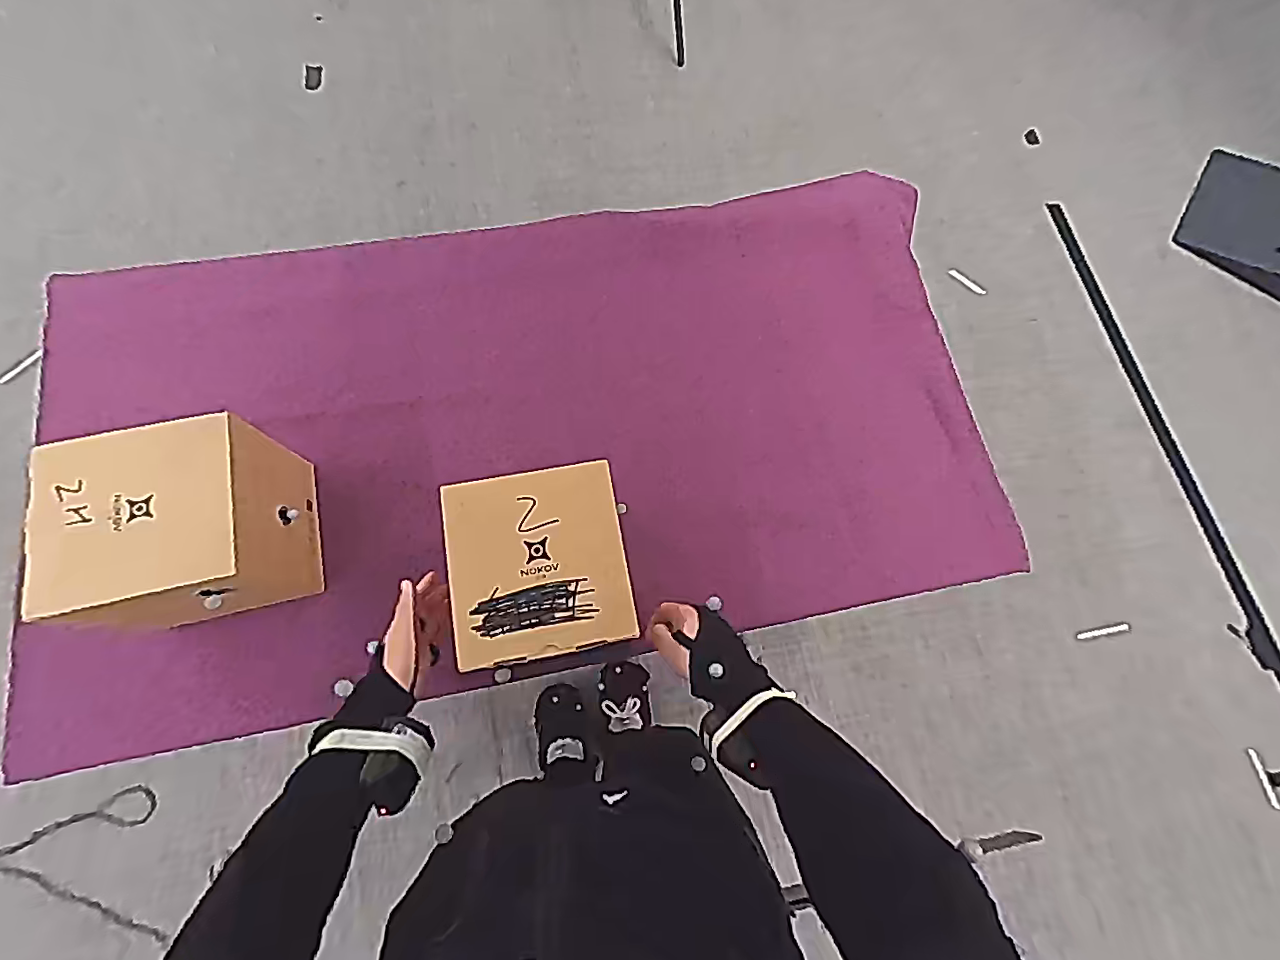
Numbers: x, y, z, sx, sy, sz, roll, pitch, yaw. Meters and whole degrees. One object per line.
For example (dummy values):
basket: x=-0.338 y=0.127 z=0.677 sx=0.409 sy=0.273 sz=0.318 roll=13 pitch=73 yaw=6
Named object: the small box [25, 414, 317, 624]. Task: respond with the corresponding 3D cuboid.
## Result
small box: x=-0.467 y=0.050 z=0.572 sx=0.179 sy=0.176 sz=0.168 roll=-12 pitch=74 yaw=-8
